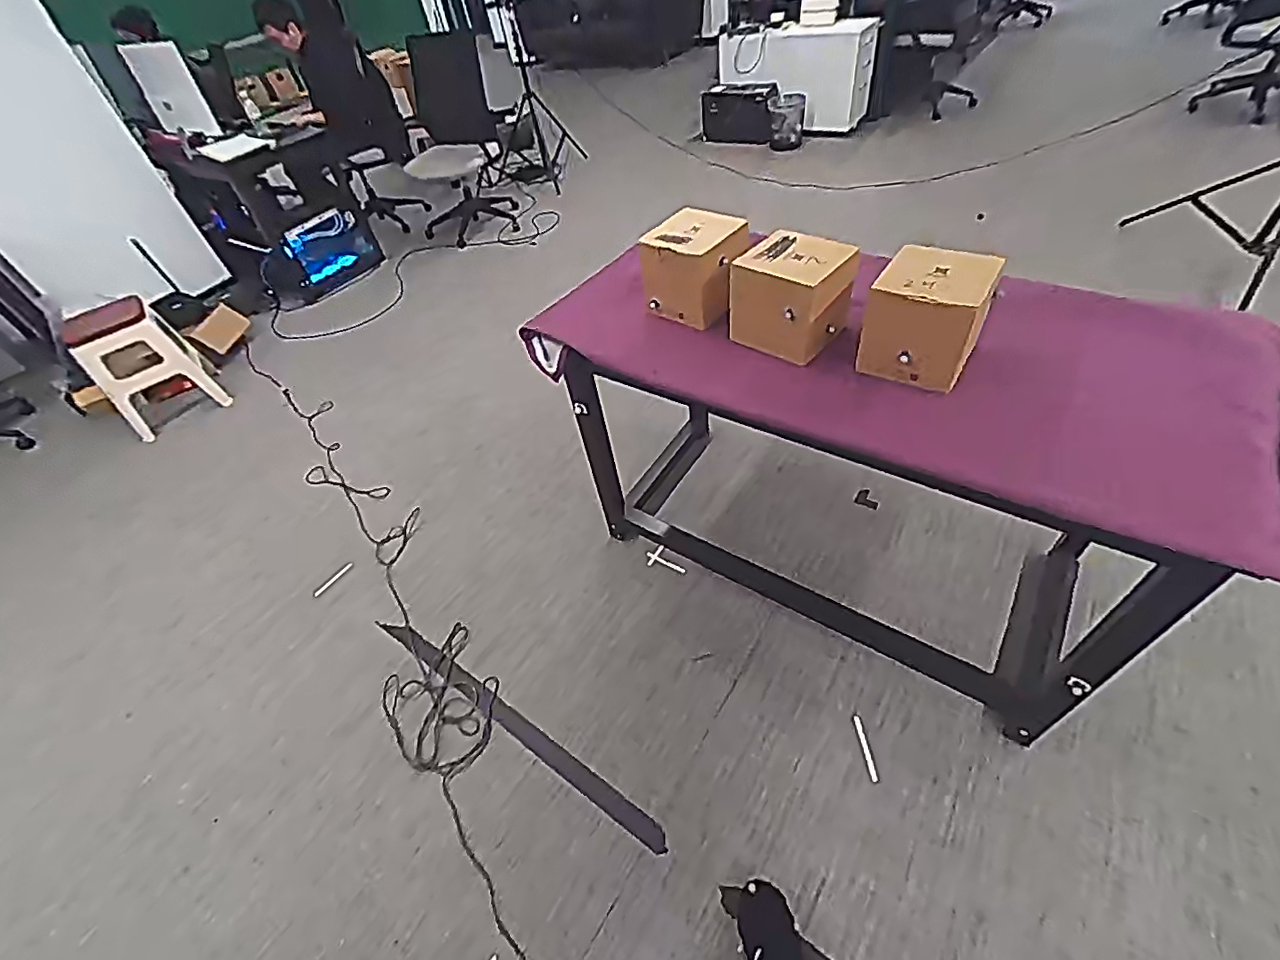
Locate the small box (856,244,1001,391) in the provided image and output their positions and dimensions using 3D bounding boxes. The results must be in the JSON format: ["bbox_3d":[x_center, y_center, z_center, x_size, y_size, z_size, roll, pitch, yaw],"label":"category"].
[{"bbox_3d":[0.500,-0.289,0.958,0.168,0.176,0.179,24,56,29],"label":"small box"}]

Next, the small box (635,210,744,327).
[{"bbox_3d":[0.115,-0.461,1.183,0.168,0.176,0.179,29,59,30],"label":"small box"}]
